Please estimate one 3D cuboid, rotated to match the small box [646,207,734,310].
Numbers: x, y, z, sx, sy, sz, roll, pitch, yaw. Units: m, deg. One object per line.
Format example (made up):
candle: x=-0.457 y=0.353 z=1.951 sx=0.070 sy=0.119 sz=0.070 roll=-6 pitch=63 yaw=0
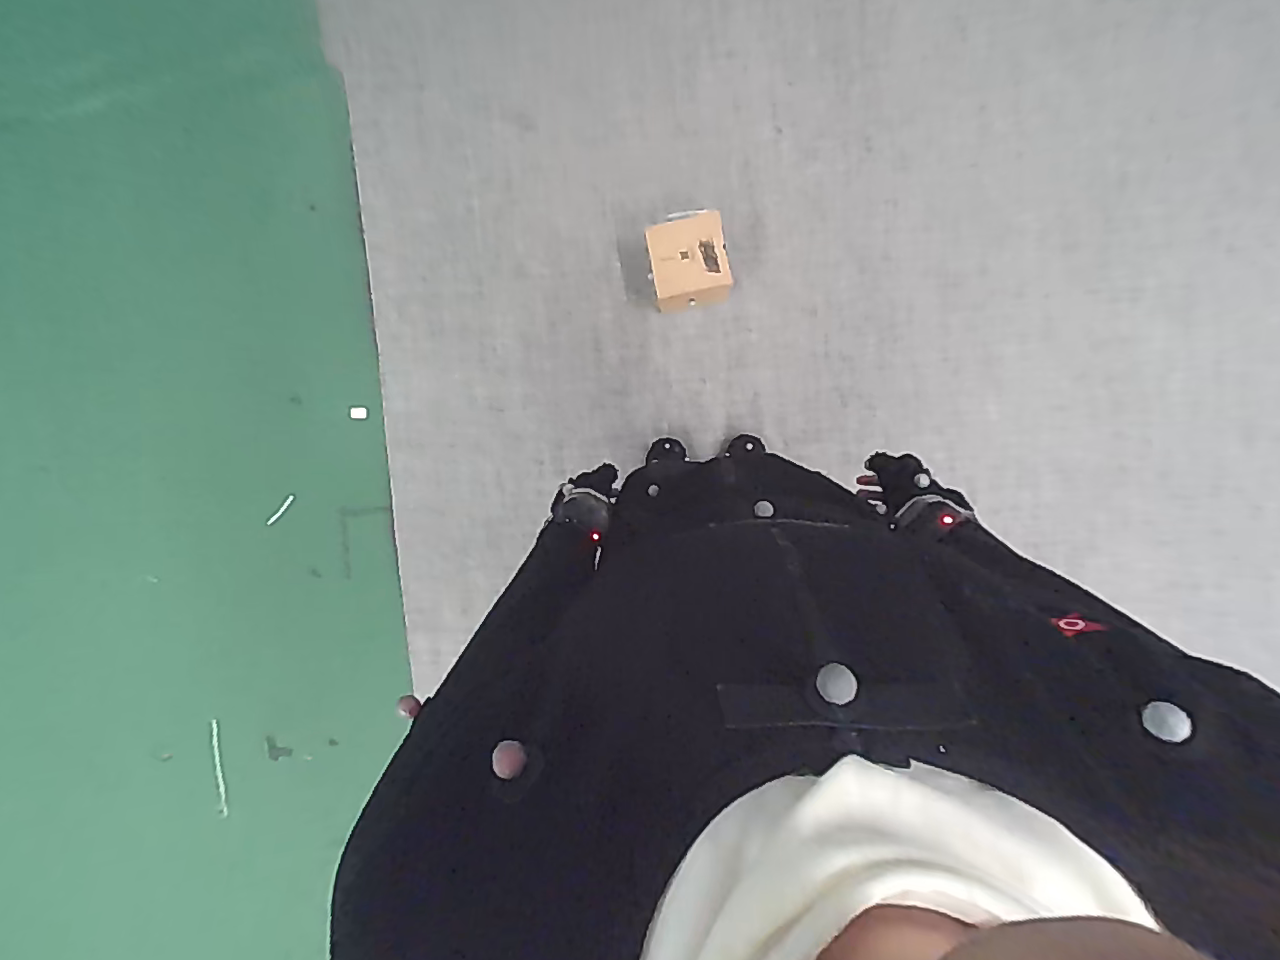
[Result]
small box: x=0.120 y=-0.527 z=1.311 sx=0.179 sy=0.176 sz=0.168 roll=-14 pitch=94 yaw=6
